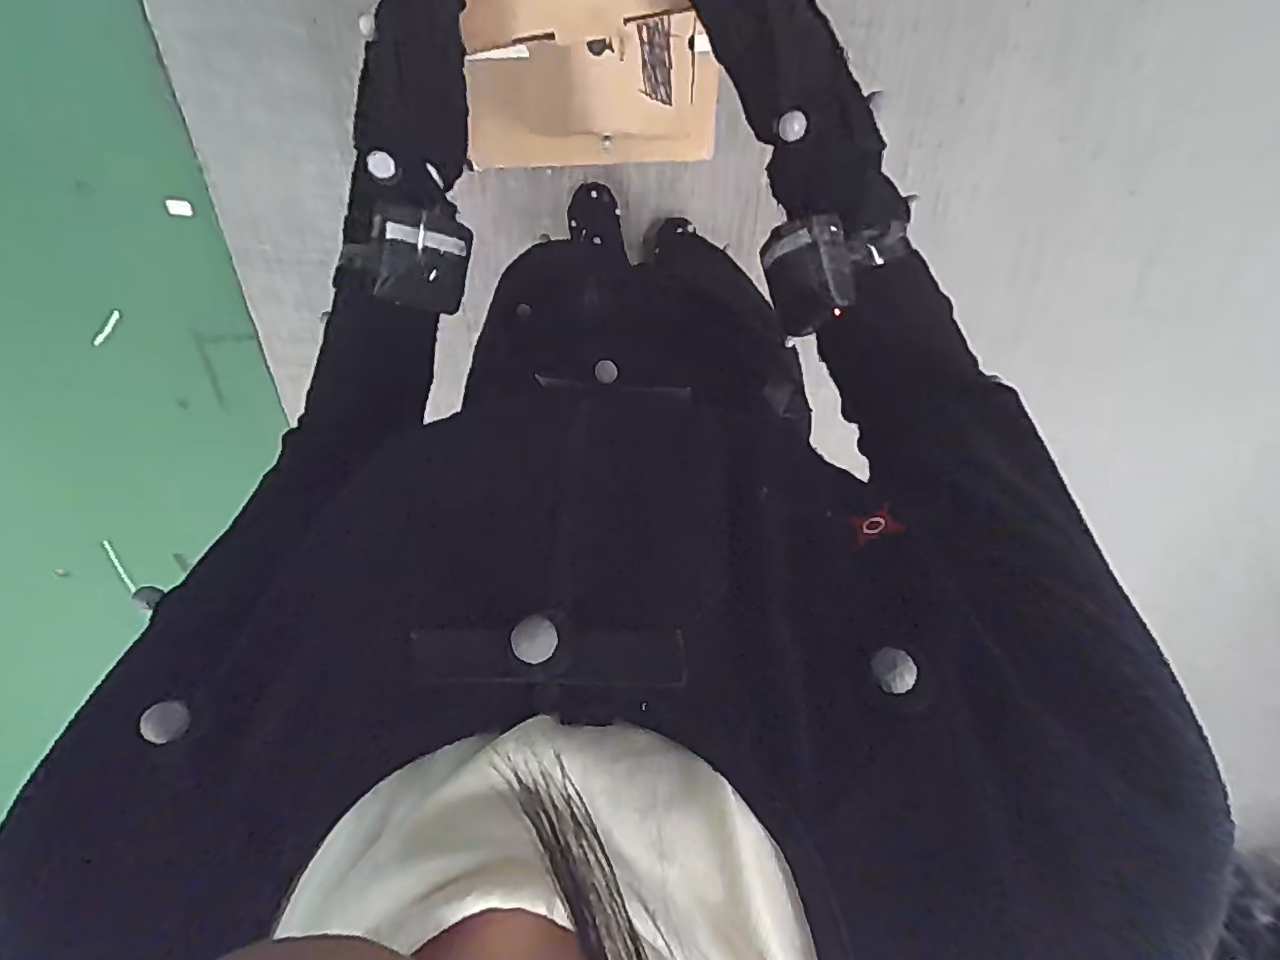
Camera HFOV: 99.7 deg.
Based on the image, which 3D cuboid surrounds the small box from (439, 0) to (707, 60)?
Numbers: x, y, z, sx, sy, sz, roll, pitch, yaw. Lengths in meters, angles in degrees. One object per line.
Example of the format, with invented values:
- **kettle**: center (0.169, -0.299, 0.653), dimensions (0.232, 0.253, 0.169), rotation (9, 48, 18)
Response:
- **small box**: center (-0.050, -0.396, 0.338), dimensions (0.168, 0.176, 0.179), rotation (-7, 133, 6)

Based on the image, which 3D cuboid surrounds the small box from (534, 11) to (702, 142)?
- **small box**: center (-0.028, -0.493, 0.626), dimensions (0.179, 0.176, 0.168), rotation (-3, 123, -1)
